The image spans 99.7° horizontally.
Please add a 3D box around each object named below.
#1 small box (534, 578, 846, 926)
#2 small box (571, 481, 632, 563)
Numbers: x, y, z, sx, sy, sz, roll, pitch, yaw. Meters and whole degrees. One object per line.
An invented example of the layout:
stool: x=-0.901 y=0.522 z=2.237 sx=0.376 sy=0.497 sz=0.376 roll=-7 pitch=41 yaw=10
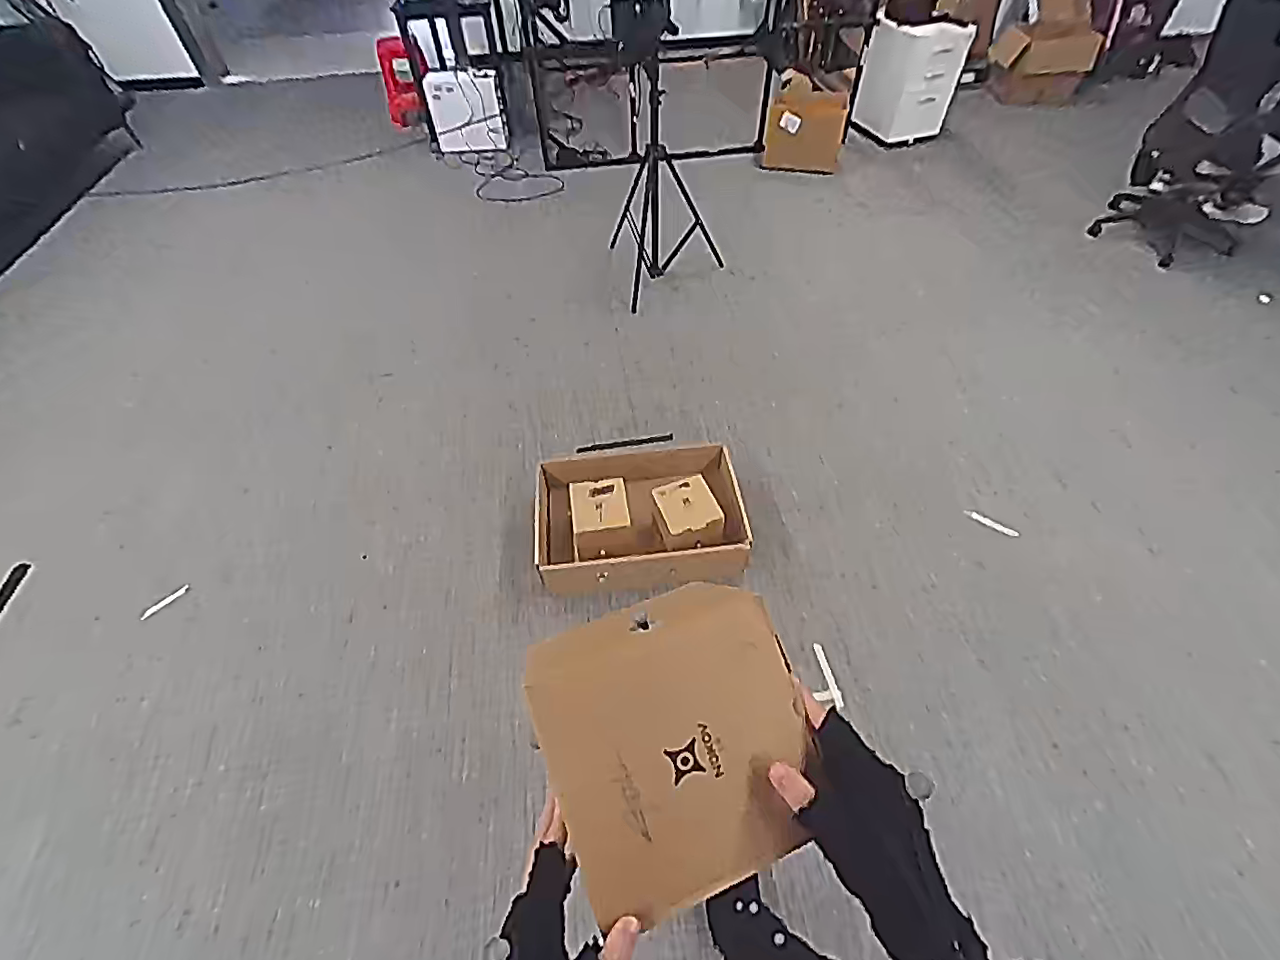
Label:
small box: x=0.021 y=0.182 z=0.432 sx=0.179 sy=0.176 sz=0.168 roll=-18 pitch=85 yaw=-13
small box: x=-0.117 y=0.129 z=1.643 sx=0.168 sy=0.176 sz=0.179 roll=-7 pitch=52 yaw=-5
